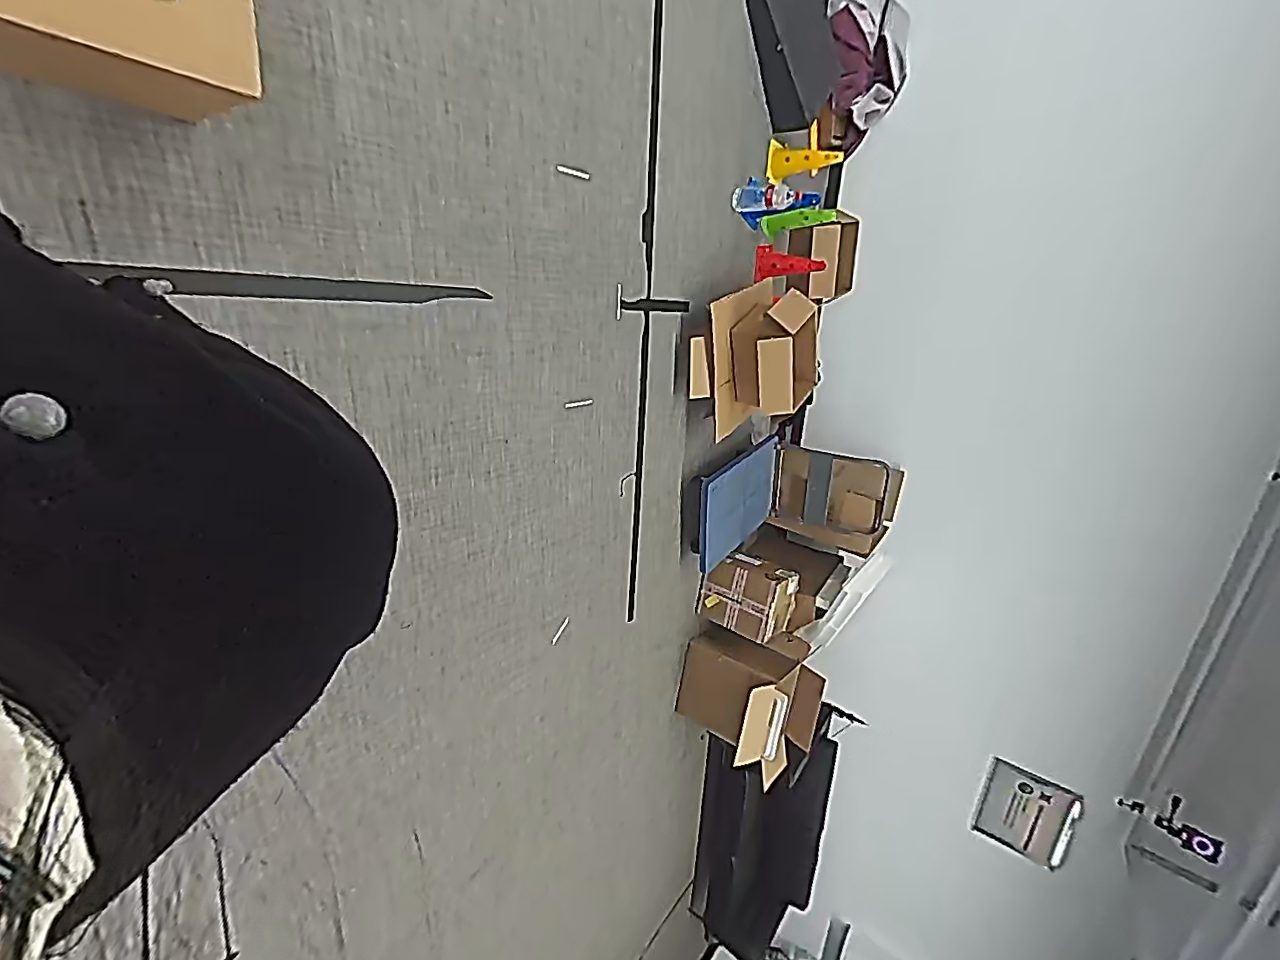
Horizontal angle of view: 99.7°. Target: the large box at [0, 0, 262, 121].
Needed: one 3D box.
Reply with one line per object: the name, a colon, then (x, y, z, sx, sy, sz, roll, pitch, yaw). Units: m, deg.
large box: (-0.864, -0.781, 0.792, 0.408, 0.320, 0.320, -18, 118, -52)
